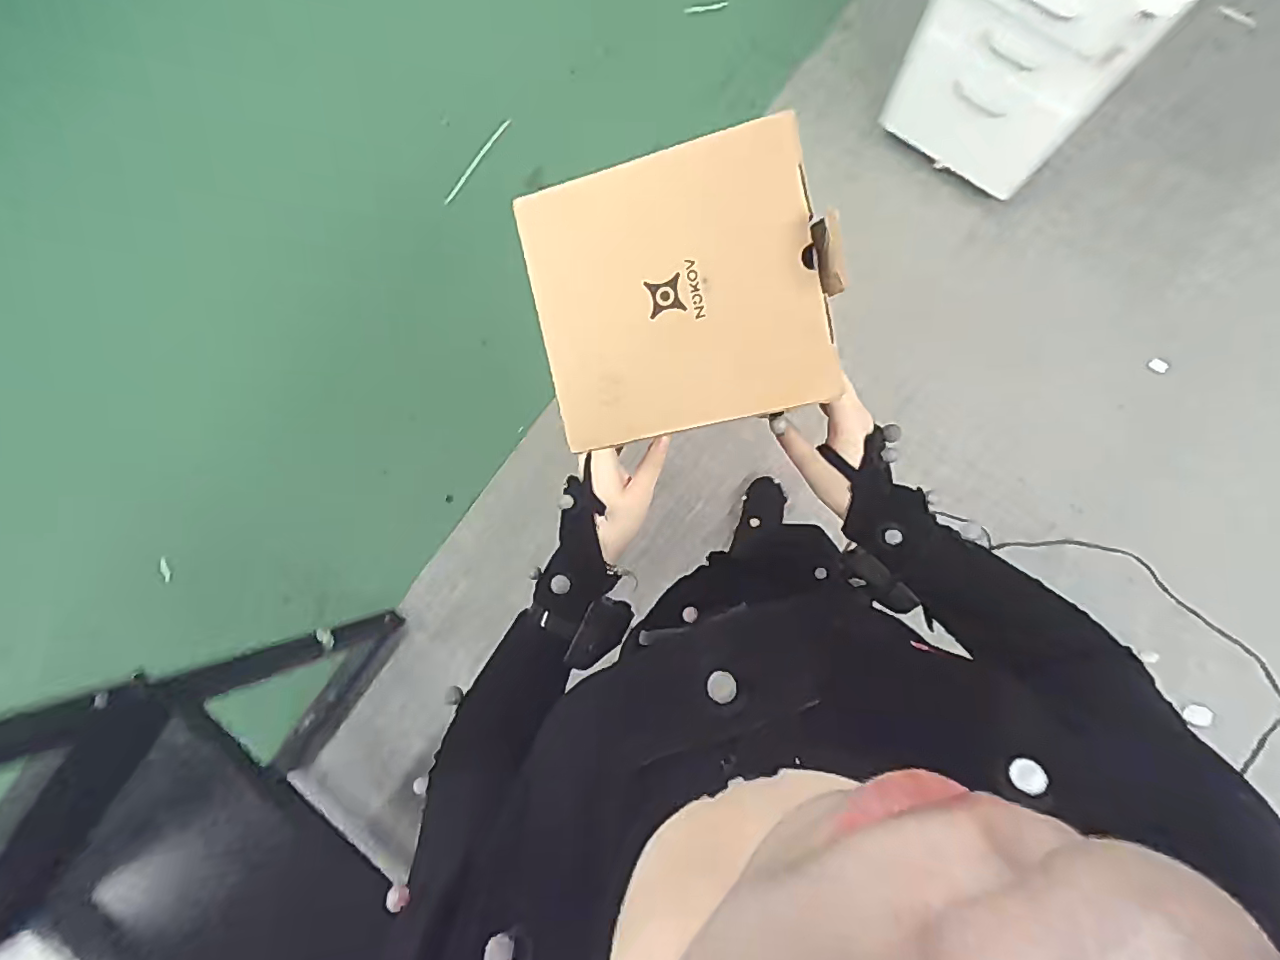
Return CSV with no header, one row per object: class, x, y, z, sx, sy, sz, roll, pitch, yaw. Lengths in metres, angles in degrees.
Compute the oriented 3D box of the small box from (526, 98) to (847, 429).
small box,0.040,-0.132,0.408,0.179,0.176,0.168,-11,94,11
